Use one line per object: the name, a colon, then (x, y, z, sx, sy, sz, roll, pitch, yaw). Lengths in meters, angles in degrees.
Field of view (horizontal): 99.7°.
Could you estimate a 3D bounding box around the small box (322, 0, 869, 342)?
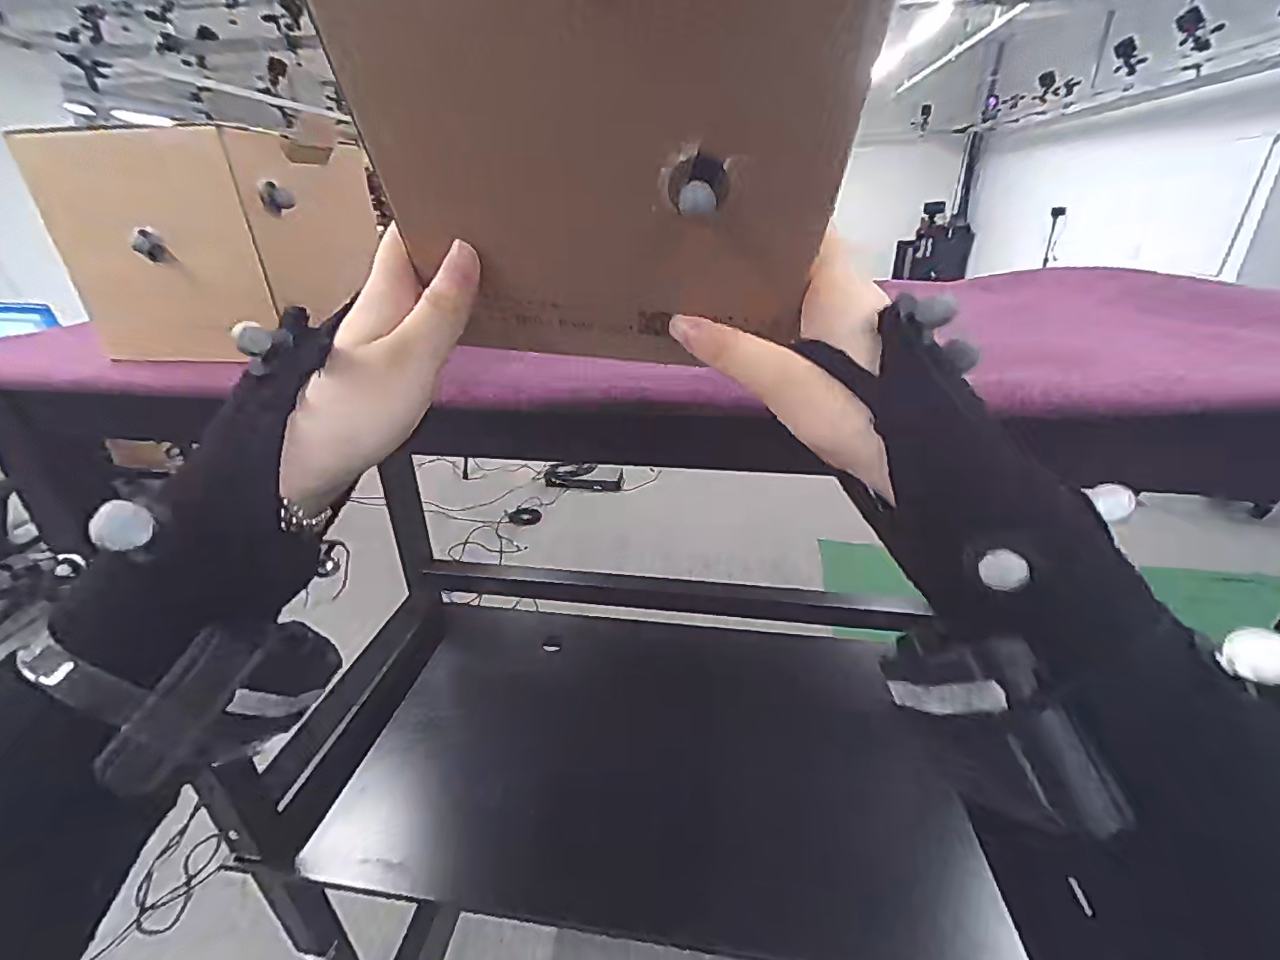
small box: (-0.005, -0.182, 0.234, 0.168, 0.176, 0.179, 6, 58, 3)
